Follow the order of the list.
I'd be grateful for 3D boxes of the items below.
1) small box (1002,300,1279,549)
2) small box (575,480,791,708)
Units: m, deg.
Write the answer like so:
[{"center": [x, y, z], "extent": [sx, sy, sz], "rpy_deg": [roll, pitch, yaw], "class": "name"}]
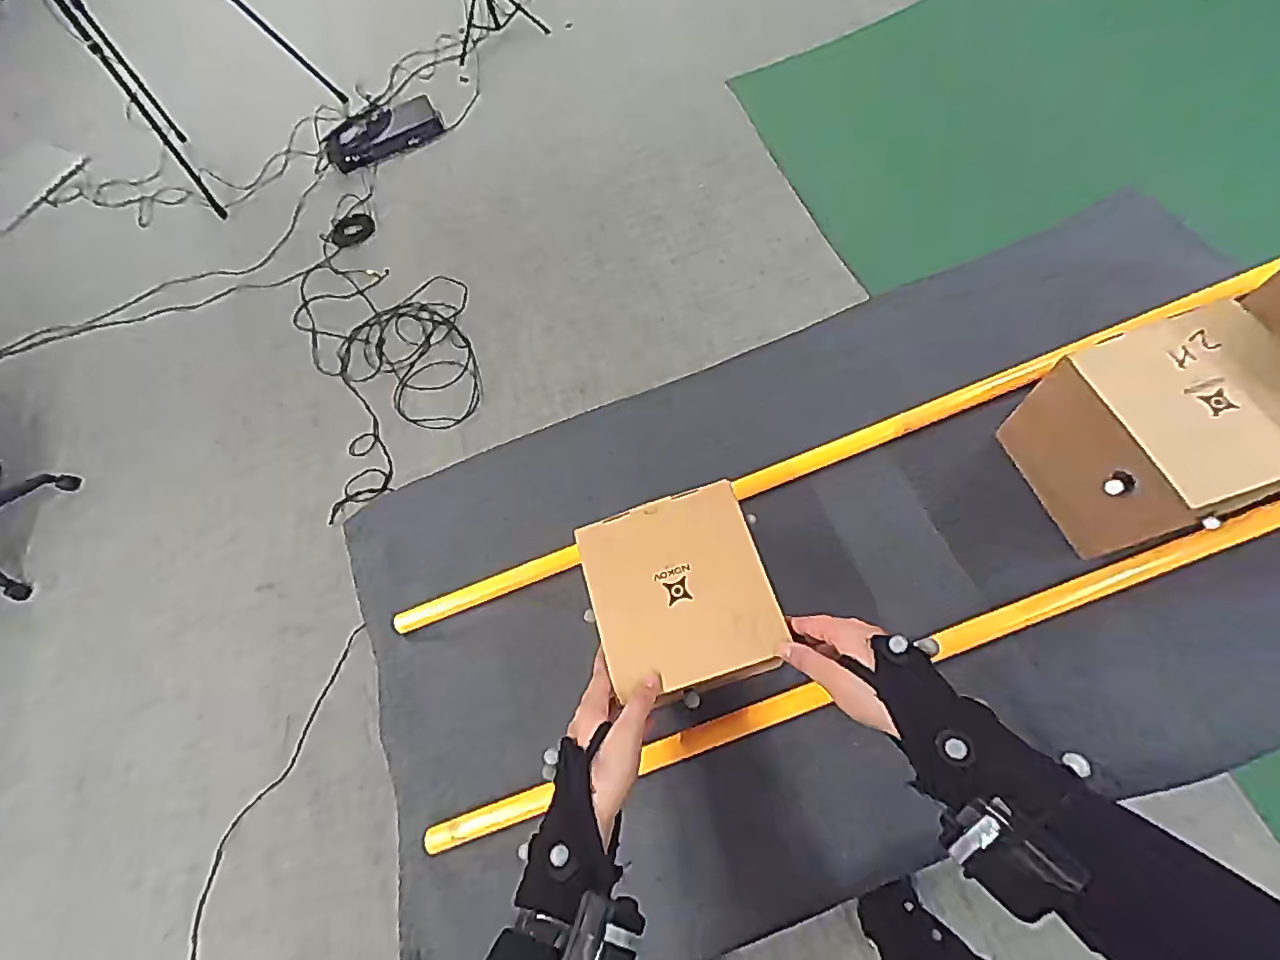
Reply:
[{"center": [0.523, -0.041, 0.553], "extent": [0.168, 0.176, 0.179], "rpy_deg": [-19, 65, 4], "class": "small box"}, {"center": [0.047, 0.129, 0.575], "extent": [0.168, 0.176, 0.179], "rpy_deg": [-19, 64, 2], "class": "small box"}]
